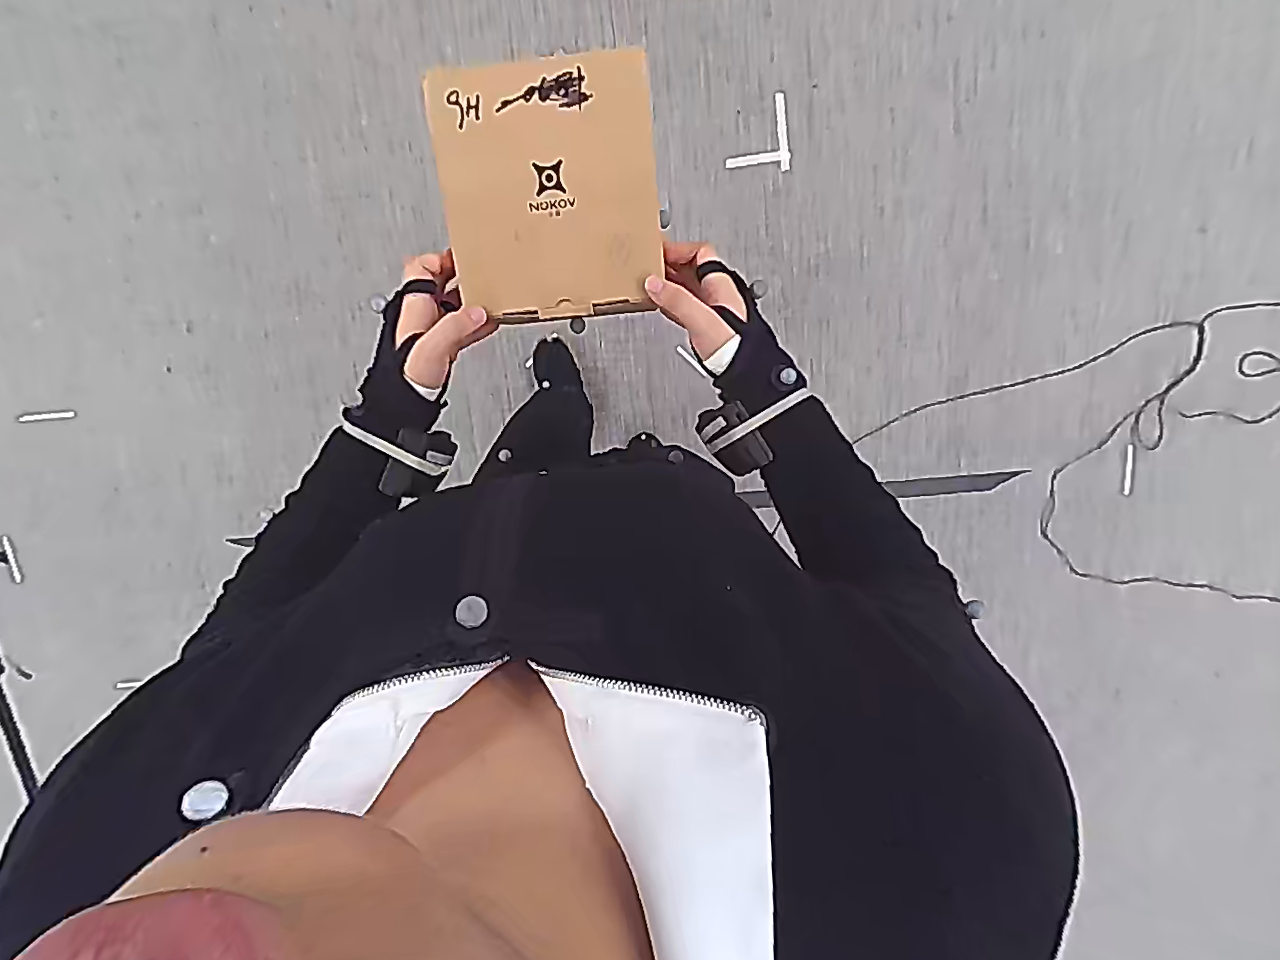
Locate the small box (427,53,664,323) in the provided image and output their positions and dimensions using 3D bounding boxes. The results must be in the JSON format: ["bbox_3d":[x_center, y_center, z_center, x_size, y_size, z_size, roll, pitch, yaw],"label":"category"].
[{"bbox_3d":[-0.067,-0.242,0.492,0.168,0.176,0.179,-6,106,1],"label":"small box"}]
